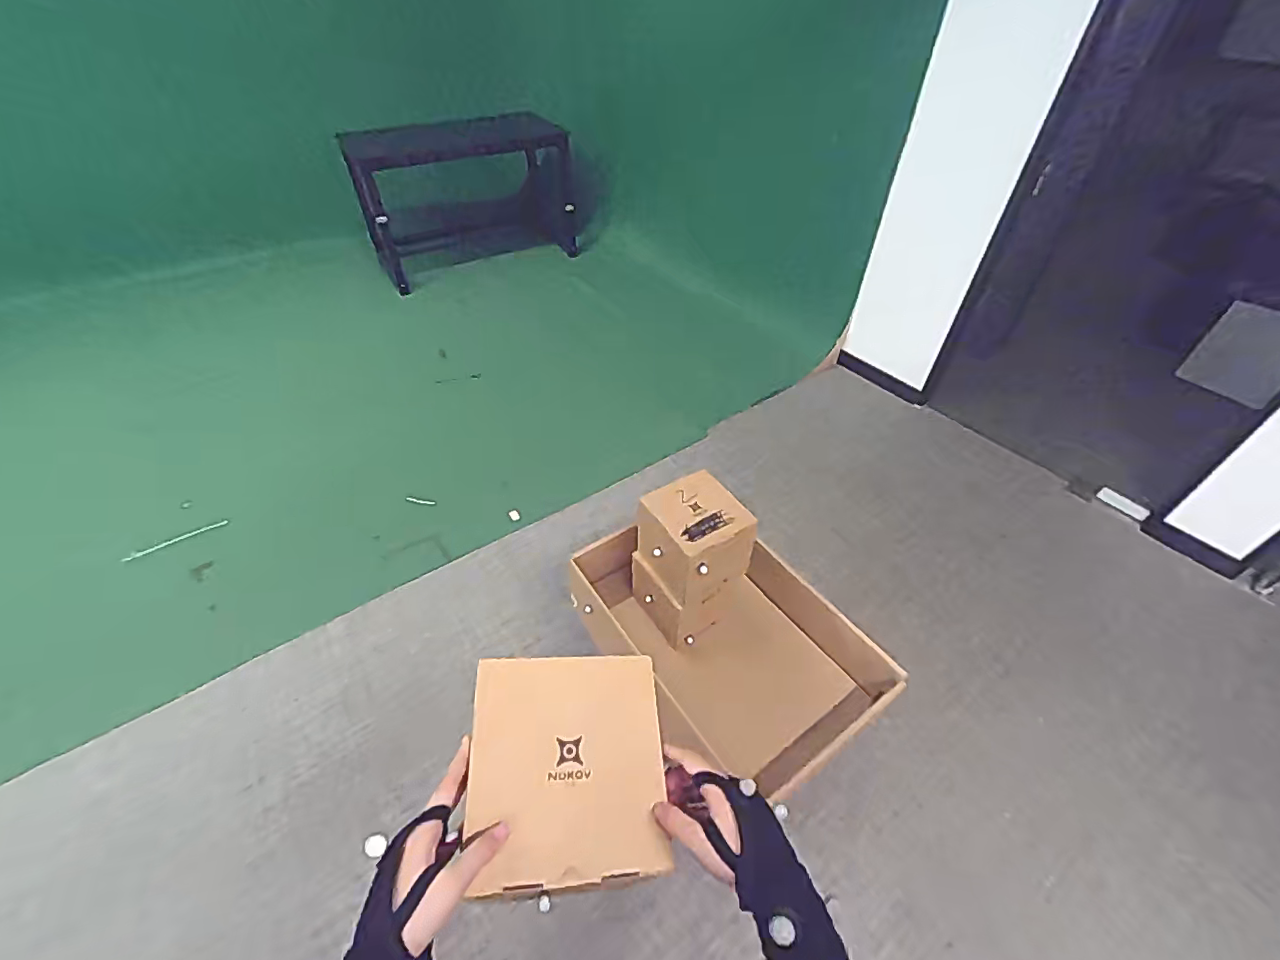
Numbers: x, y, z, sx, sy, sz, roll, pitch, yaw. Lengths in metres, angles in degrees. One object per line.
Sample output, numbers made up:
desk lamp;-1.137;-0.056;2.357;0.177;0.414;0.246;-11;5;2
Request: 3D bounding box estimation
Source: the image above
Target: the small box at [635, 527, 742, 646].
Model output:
small box;0.103;0.243;1.208;0.168;0.176;0.179;-25;49;-24
